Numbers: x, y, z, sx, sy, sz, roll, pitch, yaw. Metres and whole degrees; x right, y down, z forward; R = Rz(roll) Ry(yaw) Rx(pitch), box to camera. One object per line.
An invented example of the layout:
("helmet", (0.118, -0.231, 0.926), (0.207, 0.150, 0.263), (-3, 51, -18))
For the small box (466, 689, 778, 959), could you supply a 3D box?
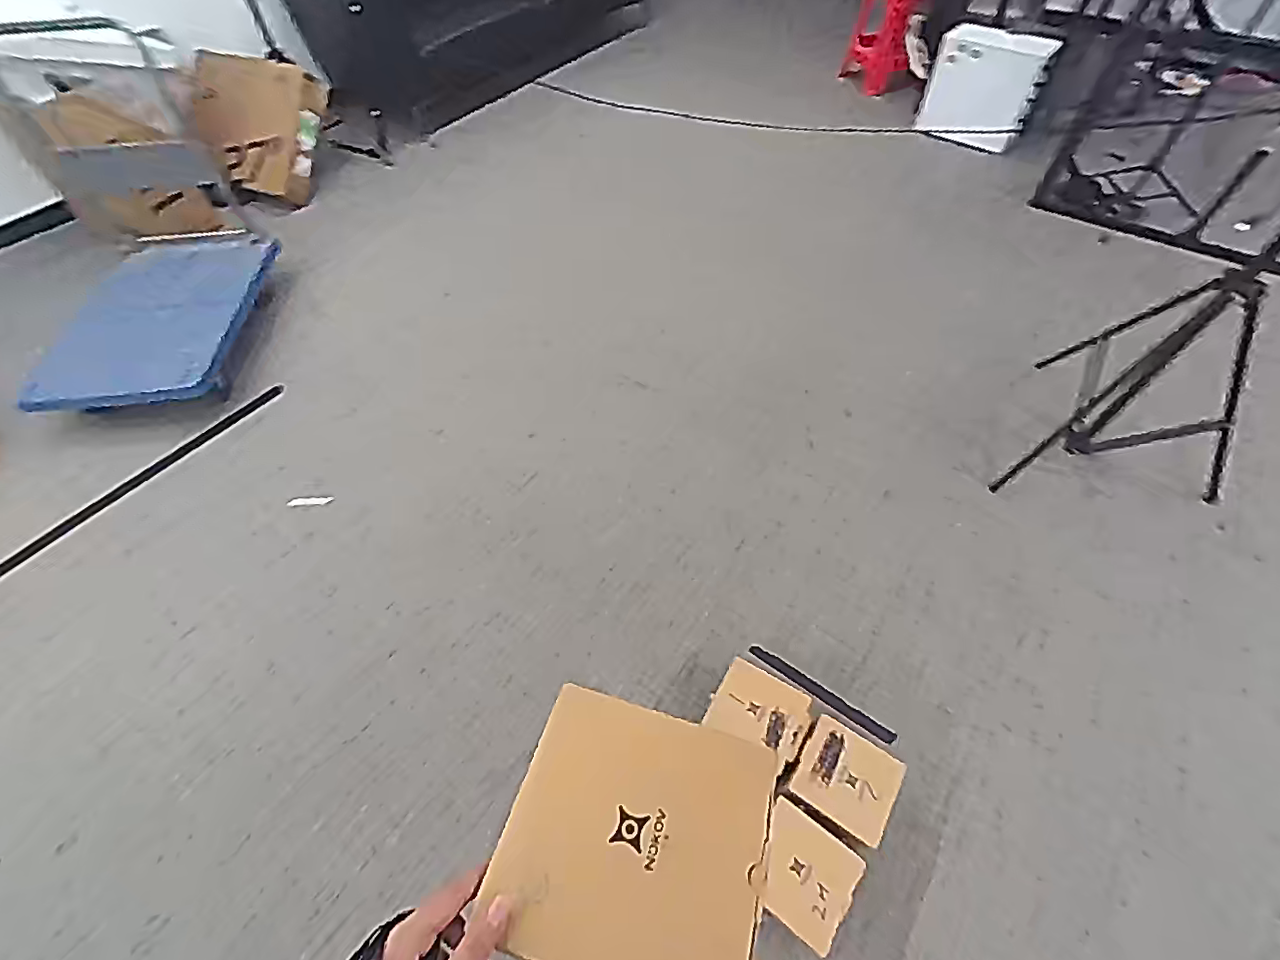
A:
("small box", (-0.003, 0.297, 0.425), (0.179, 0.176, 0.168), (13, 48, 11))
